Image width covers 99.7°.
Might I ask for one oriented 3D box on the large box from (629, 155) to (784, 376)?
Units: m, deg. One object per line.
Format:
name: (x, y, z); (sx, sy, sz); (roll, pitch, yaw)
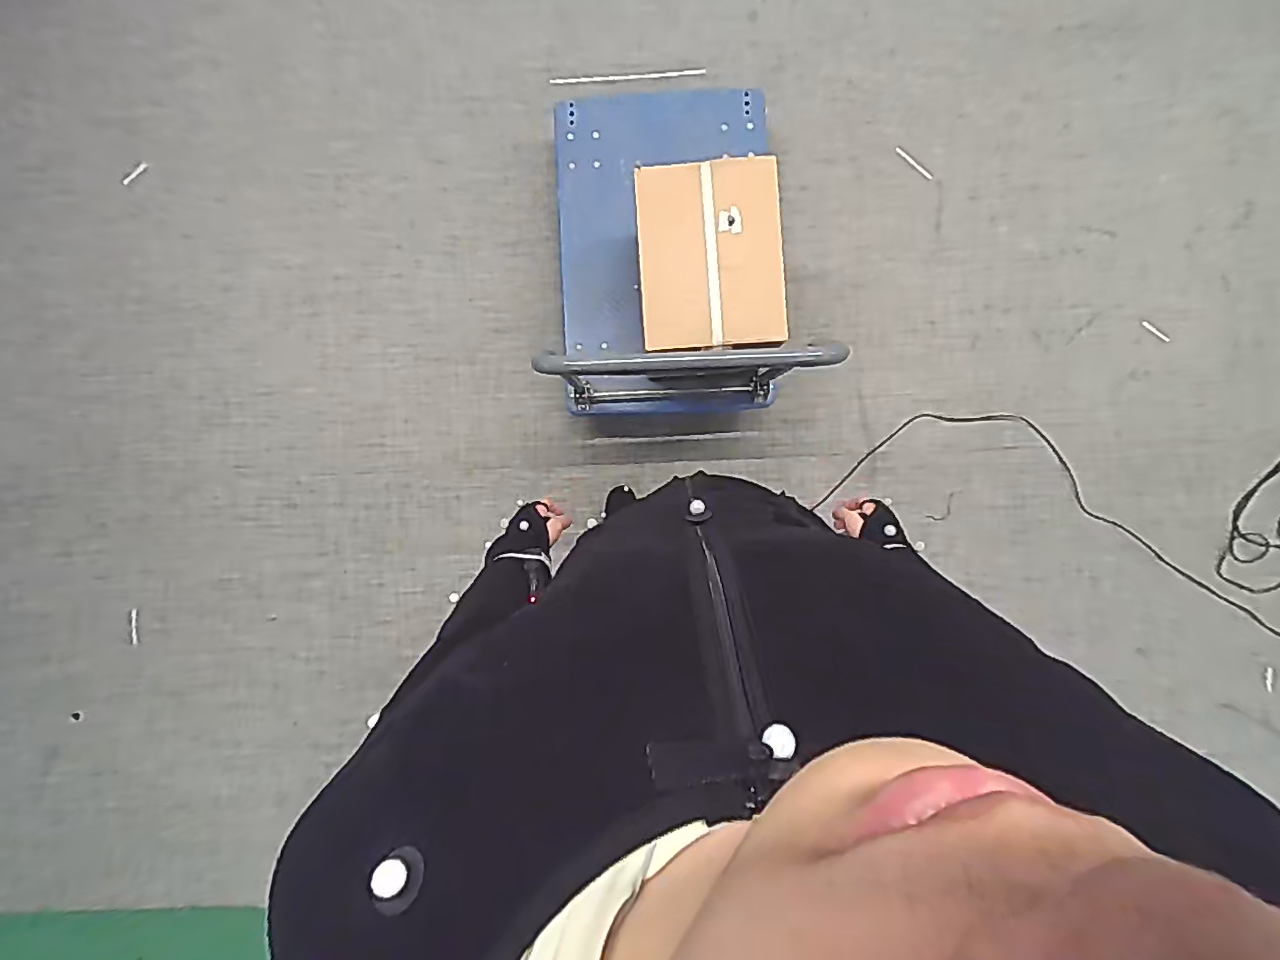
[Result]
large box: (0.148, -0.491, 1.315); (0.320, 0.320, 0.408); (-4, 89, 1)
